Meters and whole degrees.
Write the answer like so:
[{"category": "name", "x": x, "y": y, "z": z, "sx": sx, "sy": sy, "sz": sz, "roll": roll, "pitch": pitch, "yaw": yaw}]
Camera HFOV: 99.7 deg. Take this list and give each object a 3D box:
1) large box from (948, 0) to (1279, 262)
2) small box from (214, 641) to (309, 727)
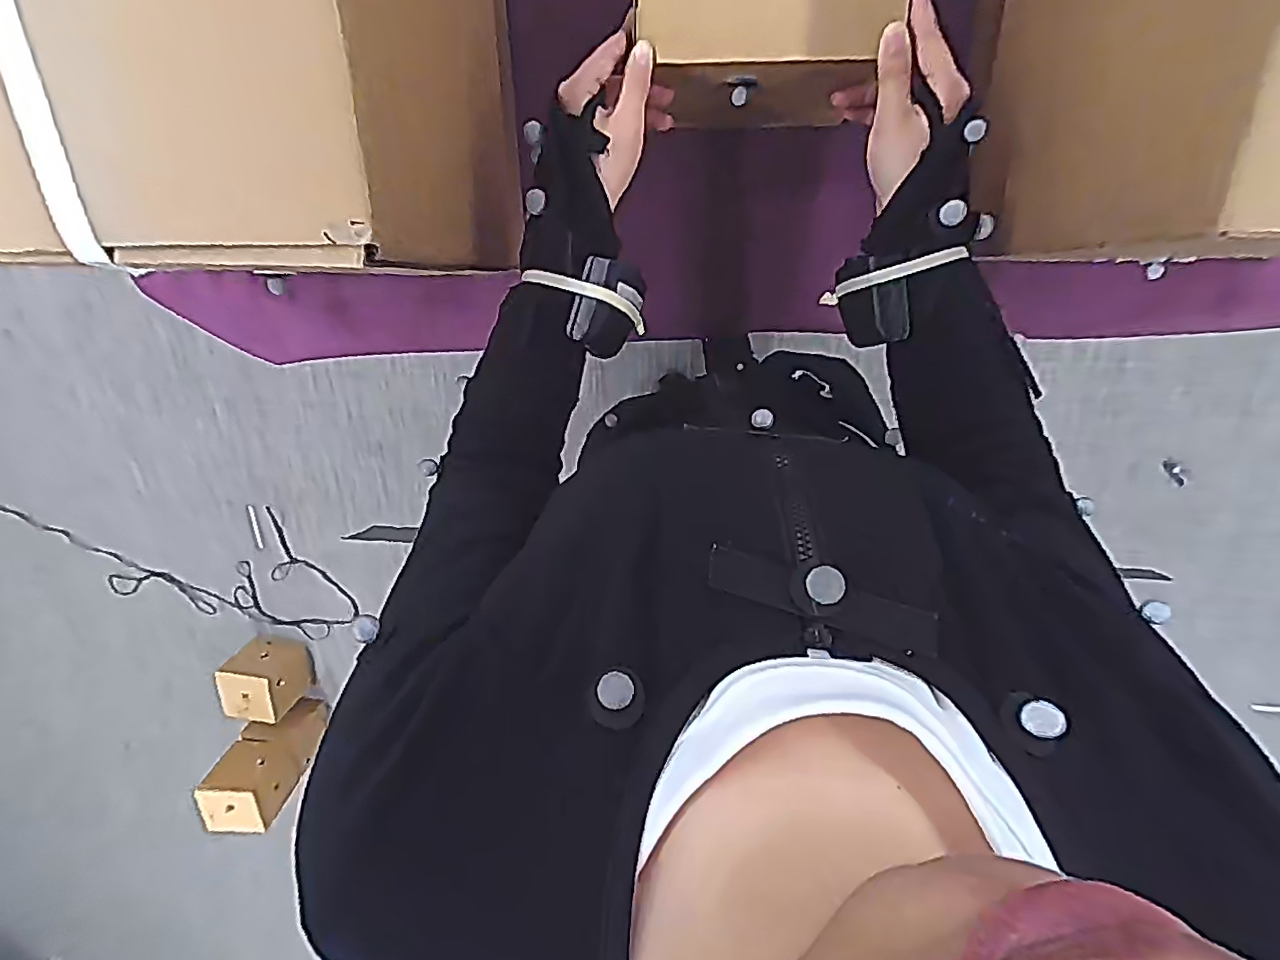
[{"category": "large box", "x": 0.419, "y": -0.348, "z": 0.300, "sx": 0.320, "sy": 0.320, "sz": 0.408, "roll": 1, "pitch": 109, "yaw": 5}, {"category": "small box", "x": -1.161, "y": 0.624, "z": 1.672, "sx": 0.168, "sy": 0.176, "sz": 0.179, "roll": 7, "pitch": 112, "yaw": 4}]
